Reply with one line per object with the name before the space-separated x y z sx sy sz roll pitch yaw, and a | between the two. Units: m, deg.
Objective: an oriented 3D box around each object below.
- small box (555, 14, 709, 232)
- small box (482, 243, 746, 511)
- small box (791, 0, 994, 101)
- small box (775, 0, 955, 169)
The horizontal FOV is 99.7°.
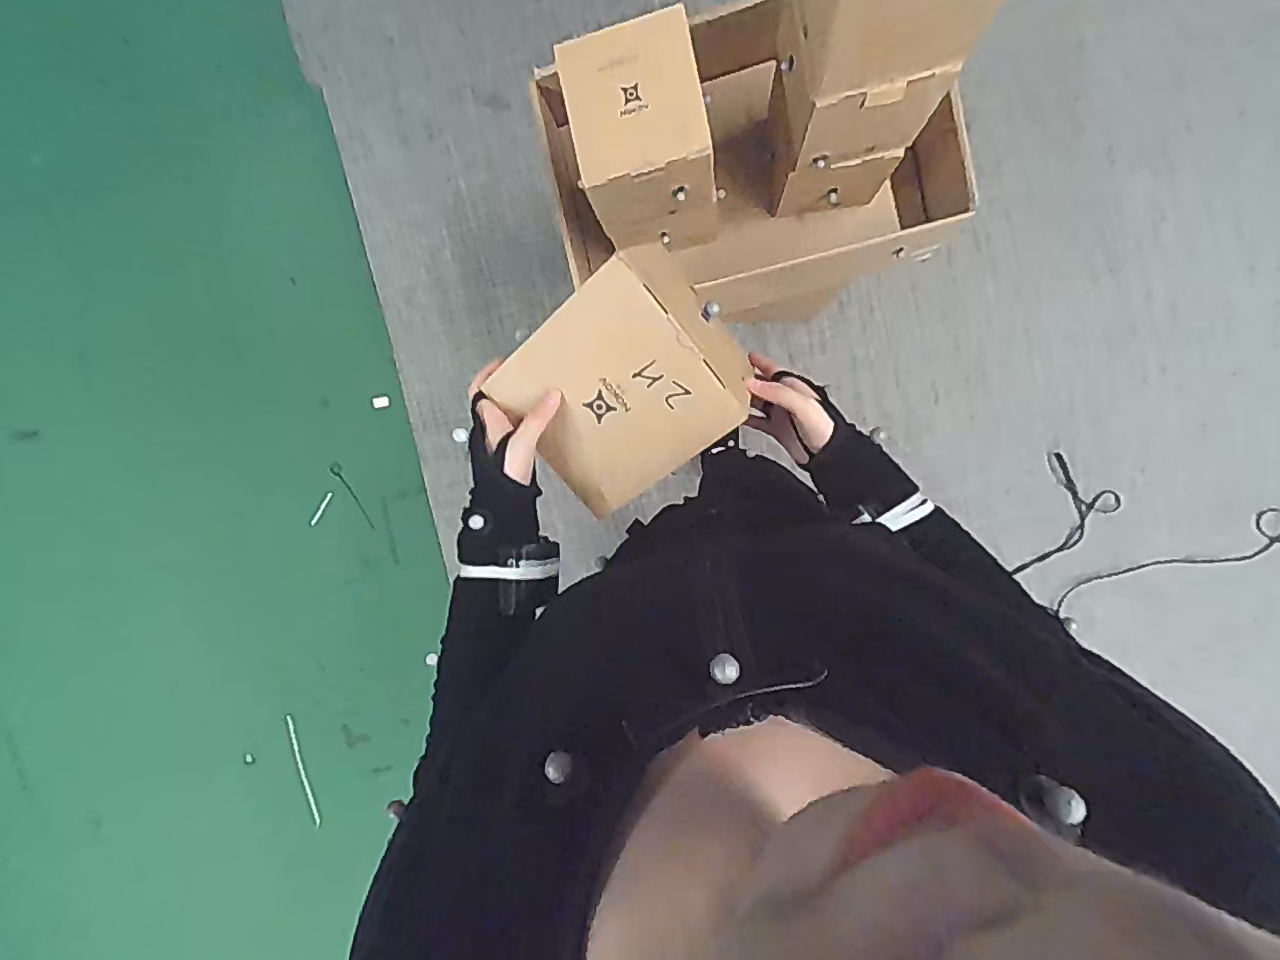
small box | 0.000 -0.461 0.736 0.168 0.176 0.179 -11 93 7
small box | -0.011 -0.106 0.529 0.179 0.176 0.168 -34 104 25
small box | 0.251 -0.521 0.537 0.179 0.176 0.168 -10 93 7
small box | 0.275 -0.533 0.698 0.168 0.176 0.179 -9 93 8
